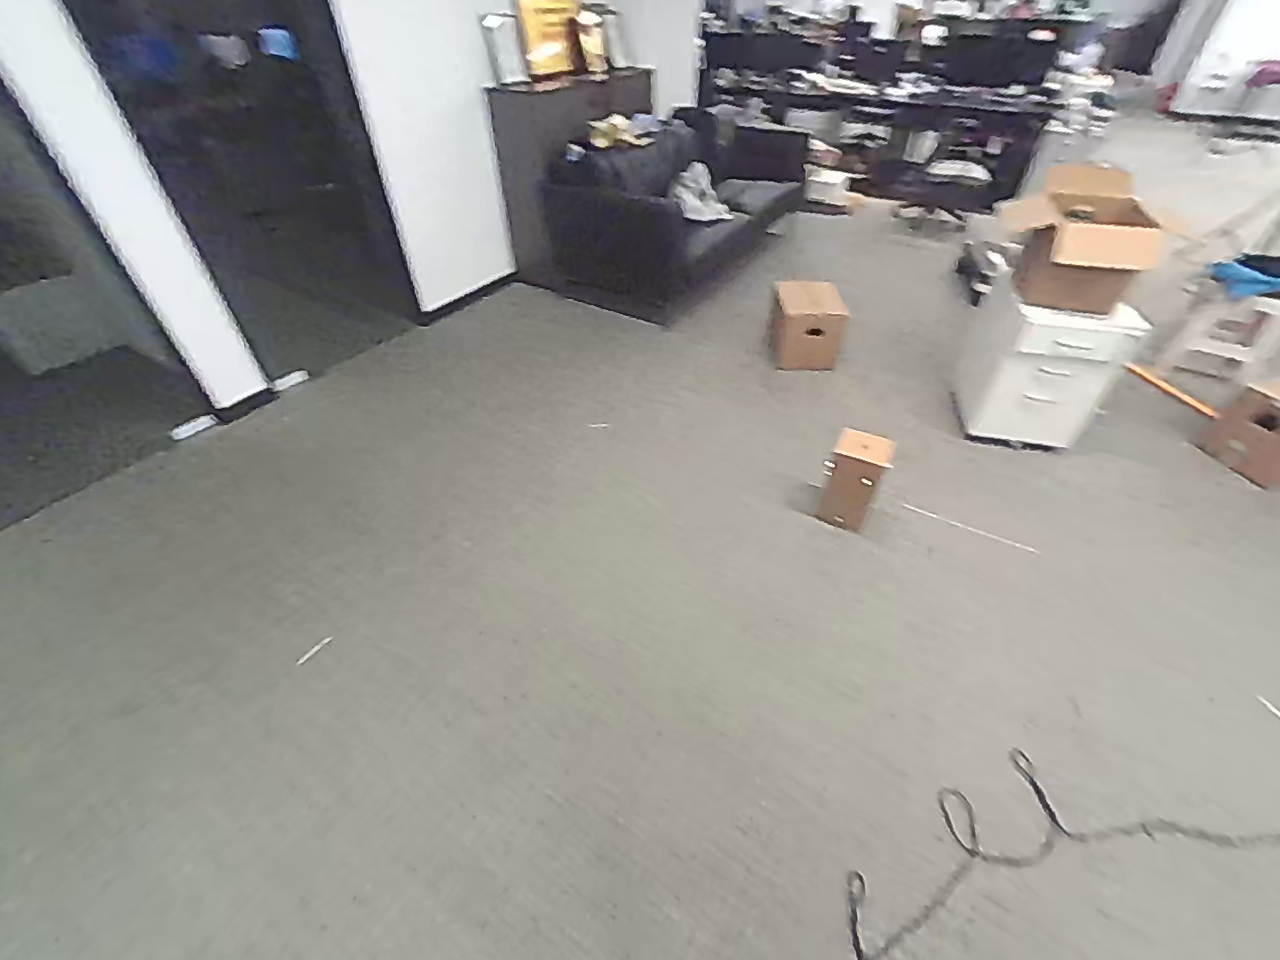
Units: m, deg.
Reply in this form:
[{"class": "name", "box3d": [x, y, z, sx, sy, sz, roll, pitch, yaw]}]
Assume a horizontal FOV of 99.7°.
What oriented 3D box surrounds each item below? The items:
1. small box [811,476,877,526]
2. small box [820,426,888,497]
[{"class": "small box", "box3d": [0.771, 0.051, 2.052, 0.179, 0.176, 0.168, 21, 46, 22]}, {"class": "small box", "box3d": [0.764, -0.064, 1.935, 0.179, 0.176, 0.168, 18, 44, 22]}]
